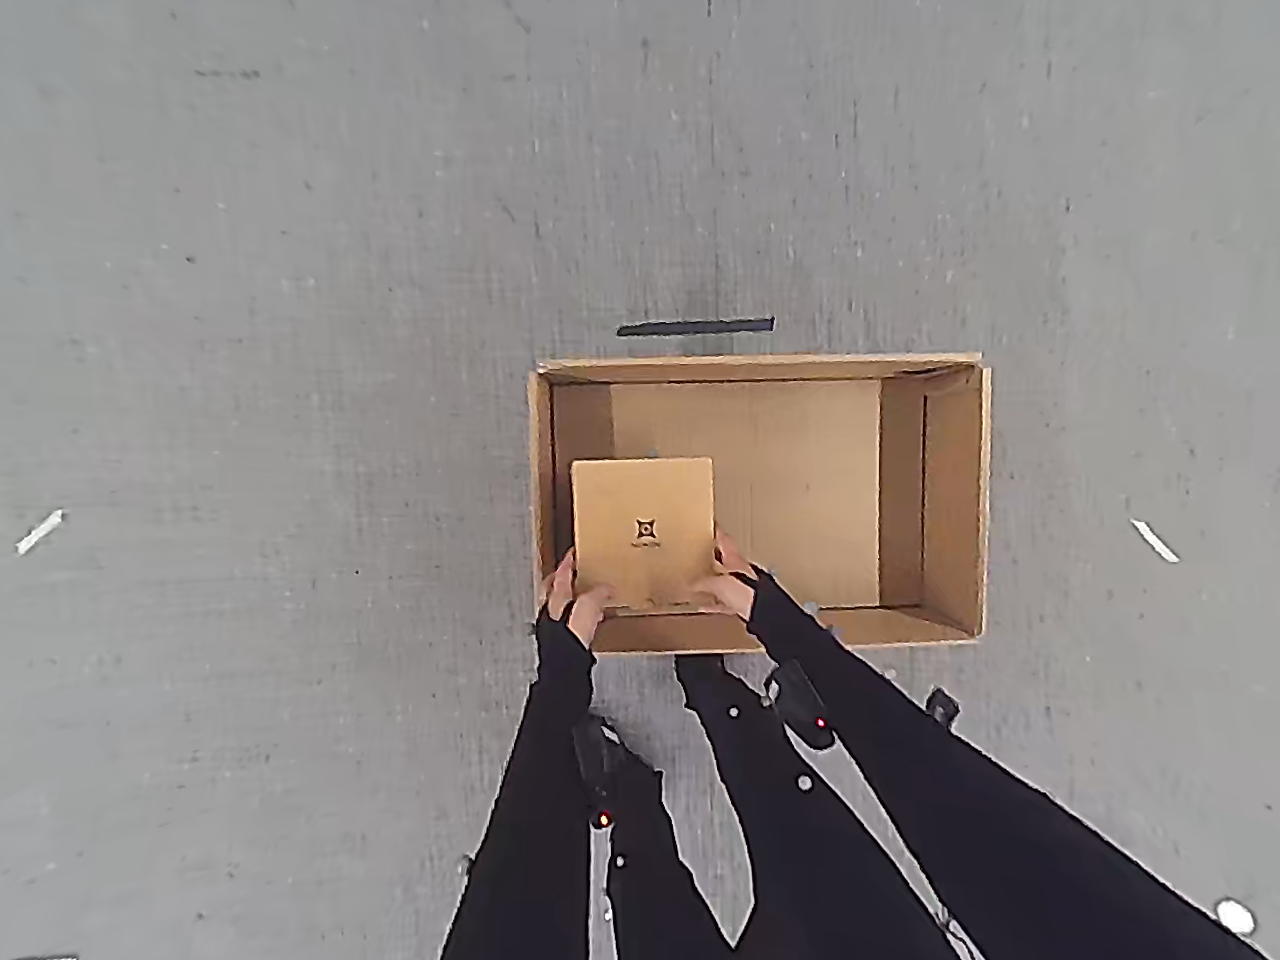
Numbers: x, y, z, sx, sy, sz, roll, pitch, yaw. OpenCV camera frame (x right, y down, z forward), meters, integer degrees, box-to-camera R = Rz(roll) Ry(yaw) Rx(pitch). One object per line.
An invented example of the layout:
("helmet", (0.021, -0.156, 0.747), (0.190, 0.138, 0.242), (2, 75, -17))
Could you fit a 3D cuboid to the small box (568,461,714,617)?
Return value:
("small box", (-0.008, 0.068, 0.702), (0.168, 0.176, 0.179), (-2, 91, -8))
